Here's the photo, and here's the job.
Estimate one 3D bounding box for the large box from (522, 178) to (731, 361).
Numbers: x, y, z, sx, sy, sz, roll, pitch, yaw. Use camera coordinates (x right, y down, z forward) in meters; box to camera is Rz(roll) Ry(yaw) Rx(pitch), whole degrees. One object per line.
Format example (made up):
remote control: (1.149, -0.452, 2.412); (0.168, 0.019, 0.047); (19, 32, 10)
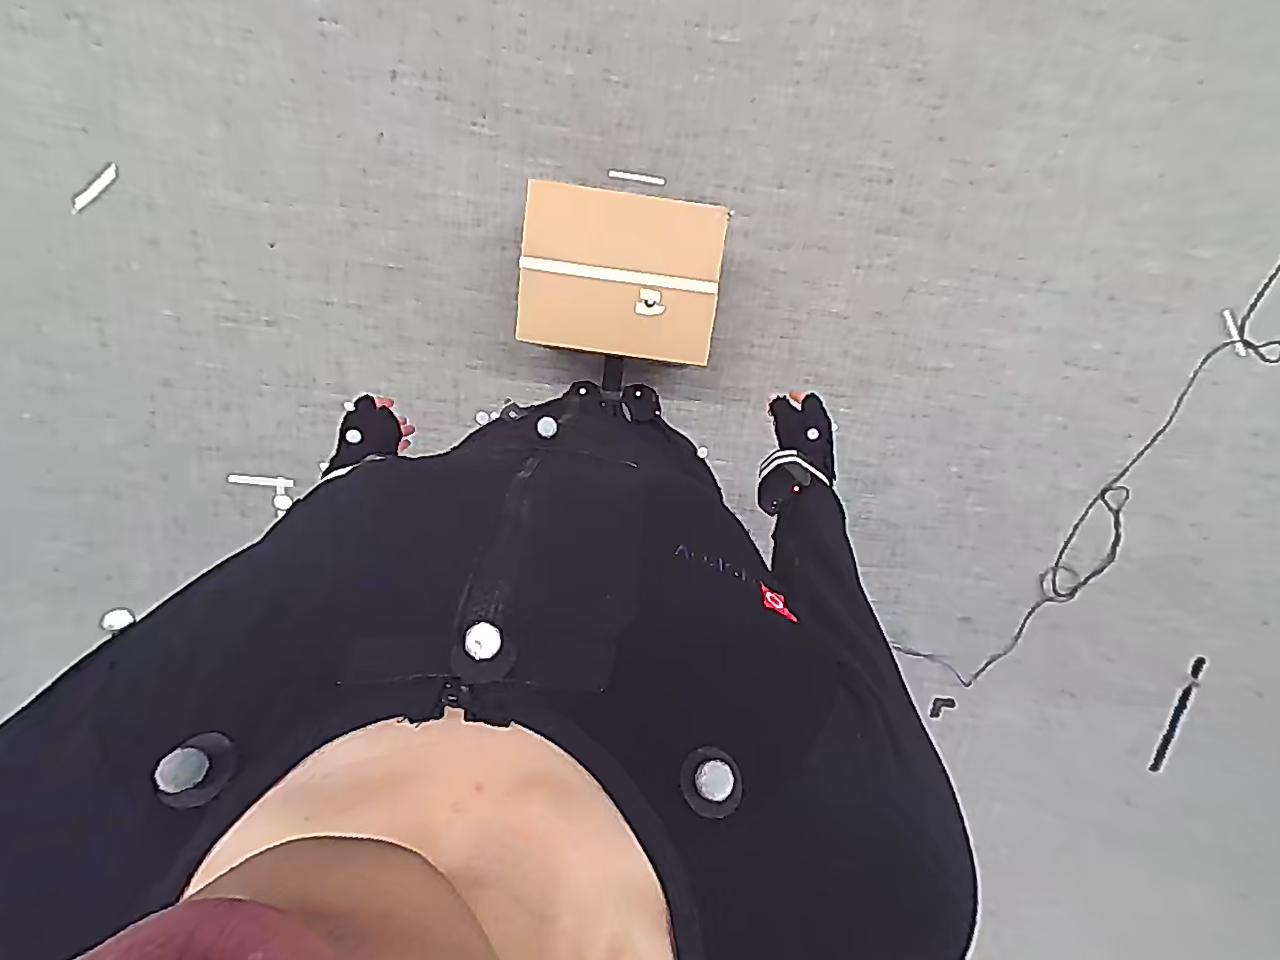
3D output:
large box: (-0.039, -0.452, 1.240); (0.408, 0.320, 0.320); (7, 103, -4)
